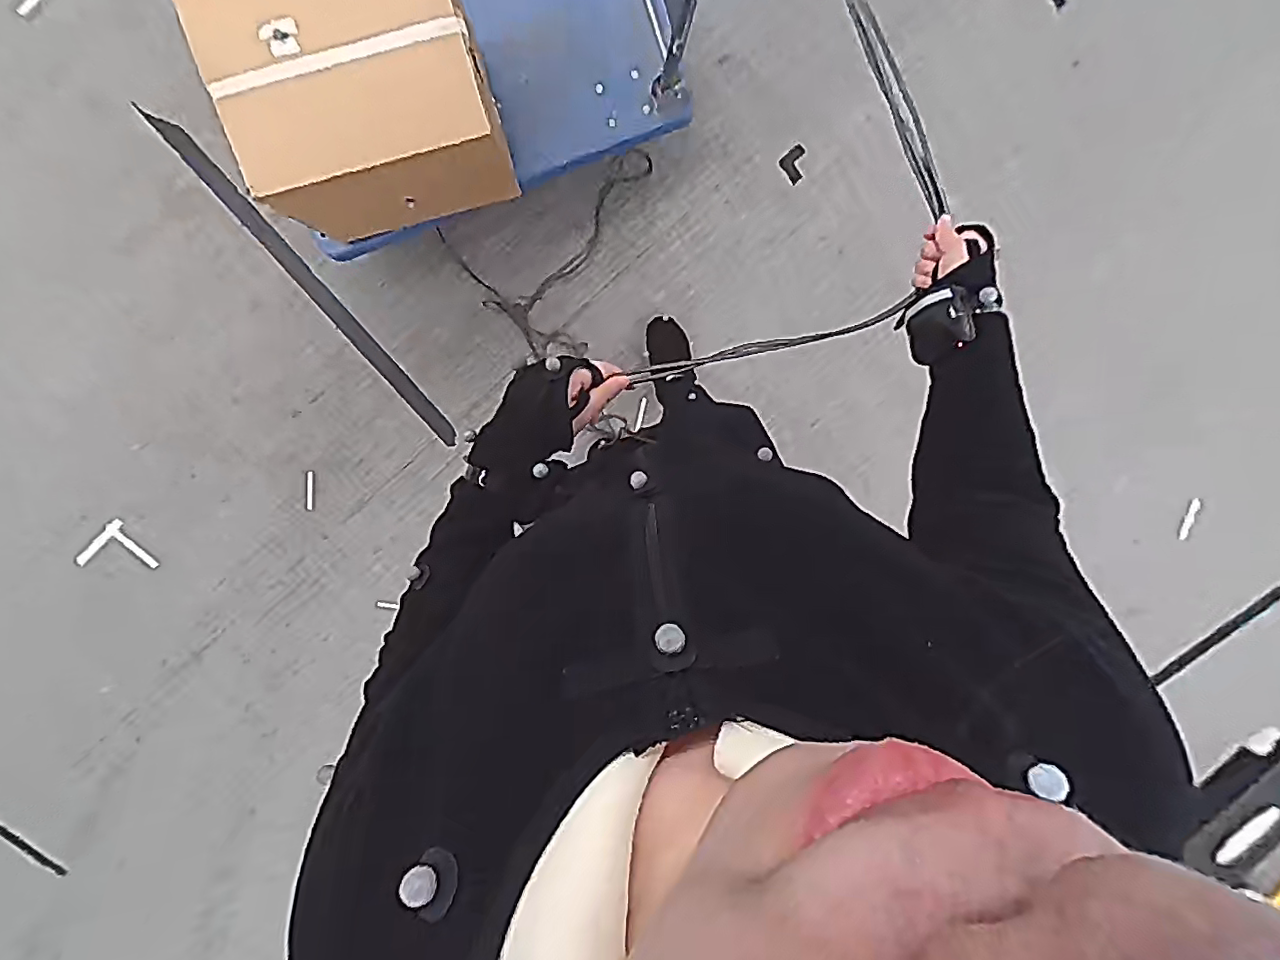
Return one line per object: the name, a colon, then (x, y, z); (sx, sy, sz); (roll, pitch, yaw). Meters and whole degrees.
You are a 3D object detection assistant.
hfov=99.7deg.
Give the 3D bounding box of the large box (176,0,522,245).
large box: (-0.474, -0.668, 0.984); (0.408, 0.320, 0.320); (-16, 101, 0)
